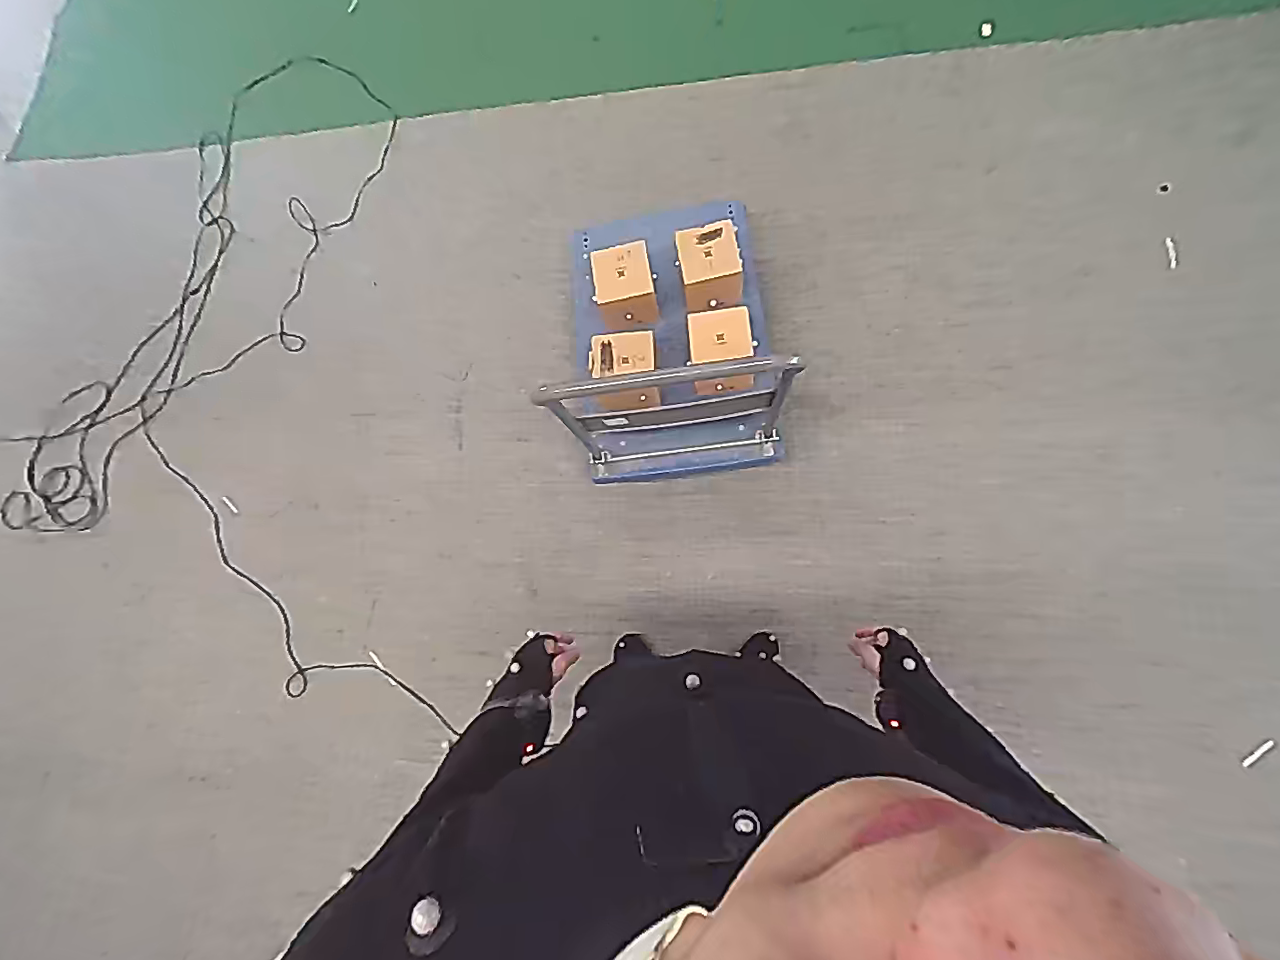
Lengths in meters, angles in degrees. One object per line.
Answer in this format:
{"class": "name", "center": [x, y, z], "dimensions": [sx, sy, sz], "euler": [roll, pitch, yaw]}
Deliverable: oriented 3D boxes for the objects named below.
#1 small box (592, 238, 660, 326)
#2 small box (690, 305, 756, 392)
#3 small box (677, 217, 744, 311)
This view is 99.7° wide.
{"class": "small box", "center": [-0.038, -0.581, 1.618], "dimensions": [0.168, 0.176, 0.179], "euler": [-10, 76, 6]}
{"class": "small box", "center": [0.233, -0.366, 1.528], "dimensions": [0.168, 0.176, 0.179], "euler": [-6, 77, 8]}
{"class": "small box", "center": [0.208, -0.629, 1.589], "dimensions": [0.168, 0.176, 0.179], "euler": [-11, 77, 8]}
